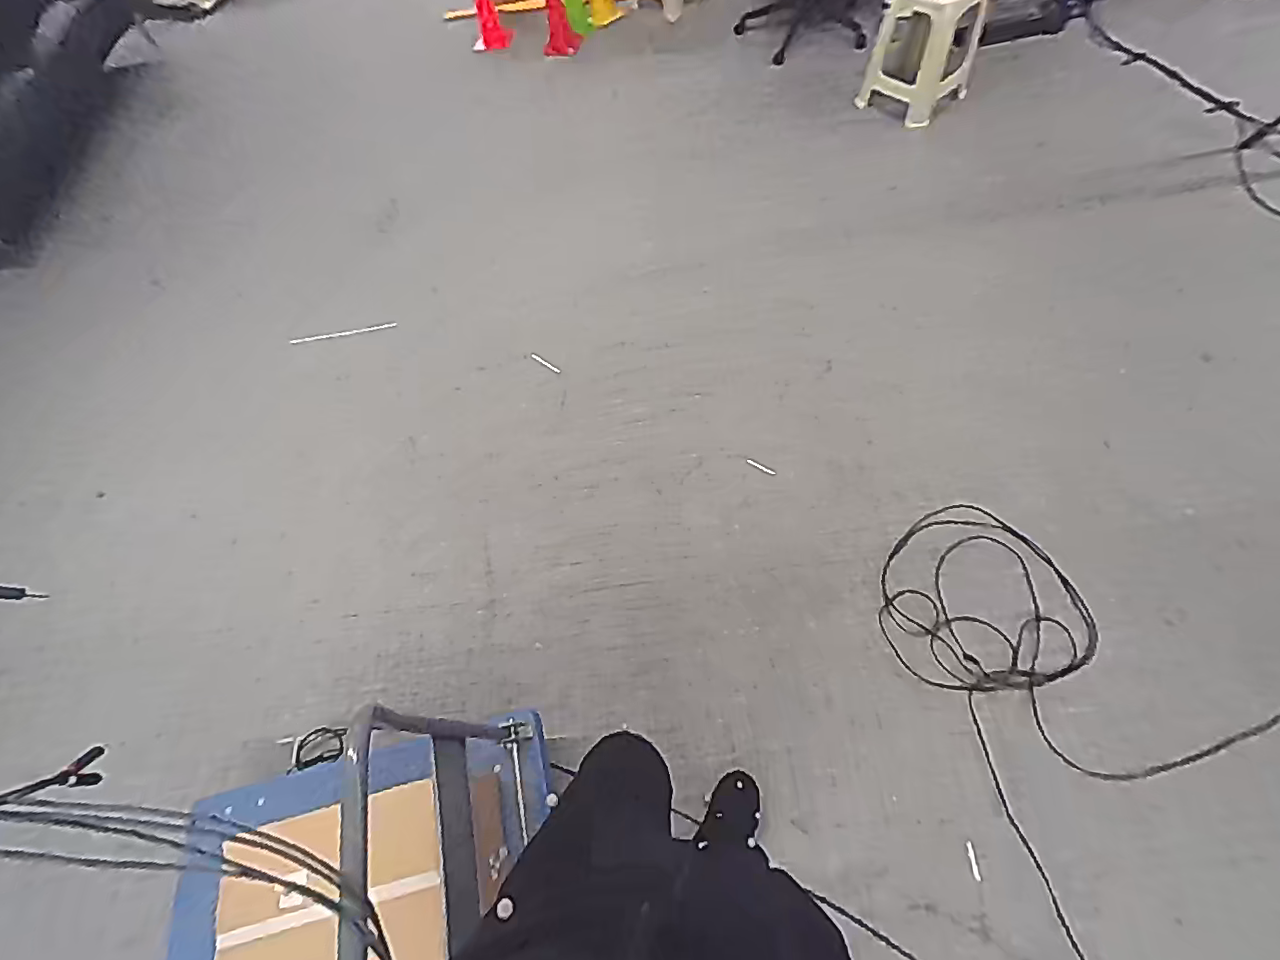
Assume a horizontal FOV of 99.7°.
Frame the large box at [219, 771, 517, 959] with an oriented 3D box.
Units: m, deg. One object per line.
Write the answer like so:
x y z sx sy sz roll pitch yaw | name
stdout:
-0.498 0.794 1.048 0.408 0.320 0.320 -17 62 0 | large box
